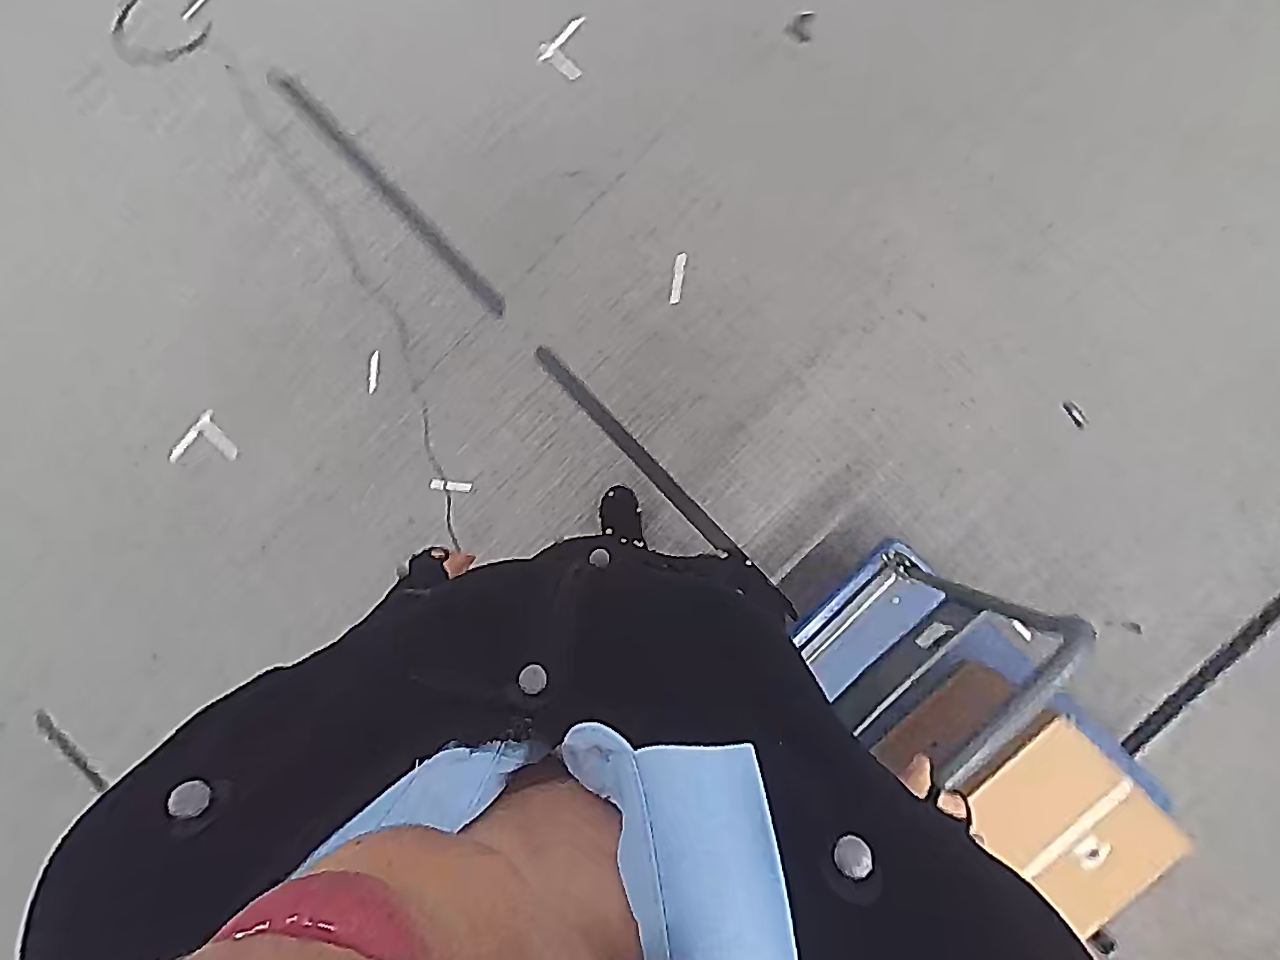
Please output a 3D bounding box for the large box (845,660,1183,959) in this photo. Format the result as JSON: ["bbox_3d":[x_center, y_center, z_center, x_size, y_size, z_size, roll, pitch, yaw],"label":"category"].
[{"bbox_3d":[0.708,0.653,1.100,0.408,0.320,0.320,-44,88,2],"label":"large box"}]
